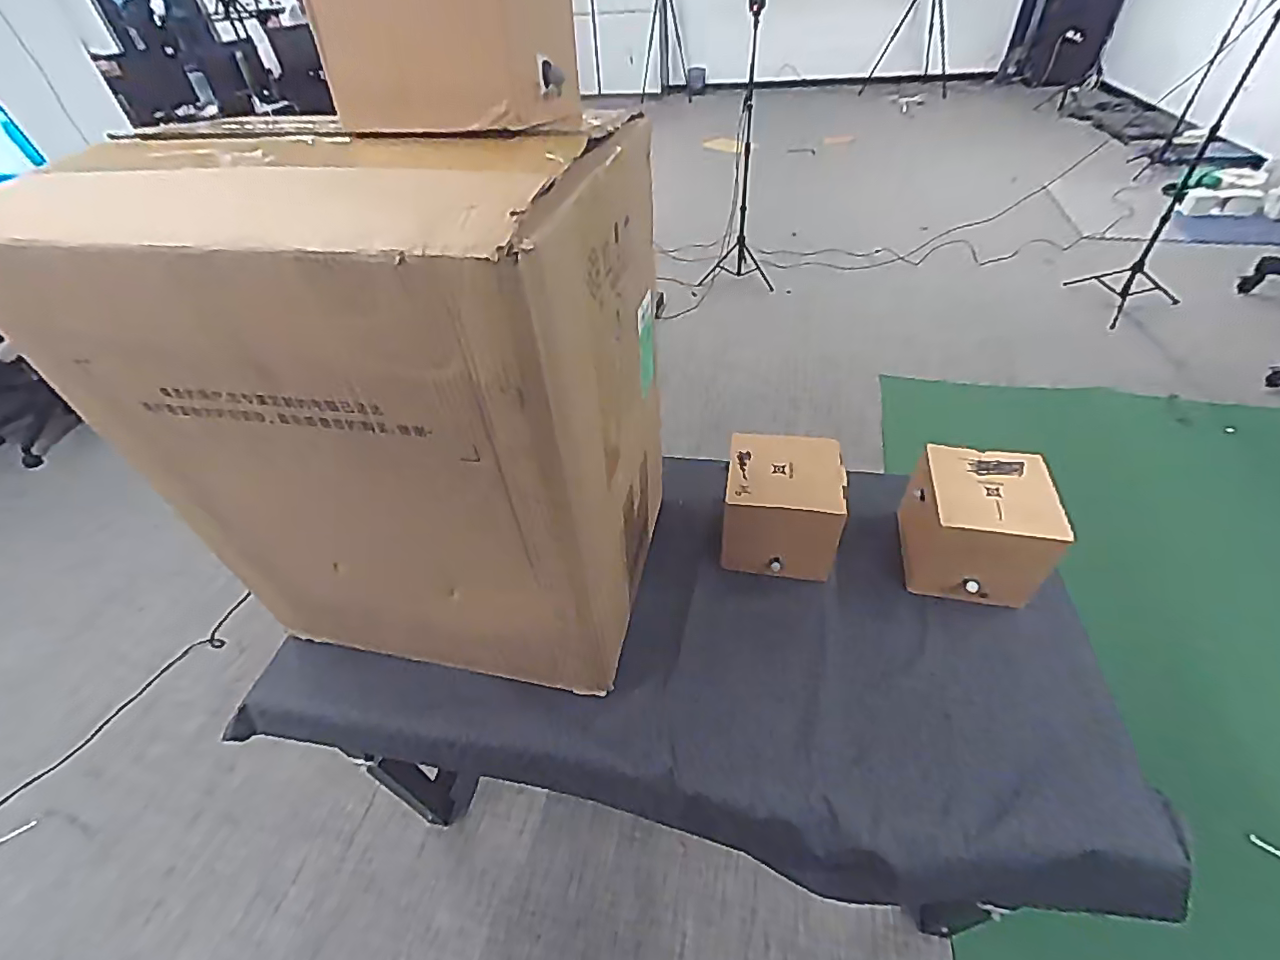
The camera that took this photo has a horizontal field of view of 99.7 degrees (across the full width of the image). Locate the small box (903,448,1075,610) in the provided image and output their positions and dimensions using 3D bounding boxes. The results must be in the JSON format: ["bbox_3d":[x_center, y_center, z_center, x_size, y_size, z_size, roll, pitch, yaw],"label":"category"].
[{"bbox_3d":[0.527,0.075,0.850,0.168,0.176,0.179,7,46,13],"label":"small box"}]

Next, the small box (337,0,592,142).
[{"bbox_3d":[-0.153,-0.414,0.493,0.179,0.176,0.168,8,40,11],"label":"small box"}]
